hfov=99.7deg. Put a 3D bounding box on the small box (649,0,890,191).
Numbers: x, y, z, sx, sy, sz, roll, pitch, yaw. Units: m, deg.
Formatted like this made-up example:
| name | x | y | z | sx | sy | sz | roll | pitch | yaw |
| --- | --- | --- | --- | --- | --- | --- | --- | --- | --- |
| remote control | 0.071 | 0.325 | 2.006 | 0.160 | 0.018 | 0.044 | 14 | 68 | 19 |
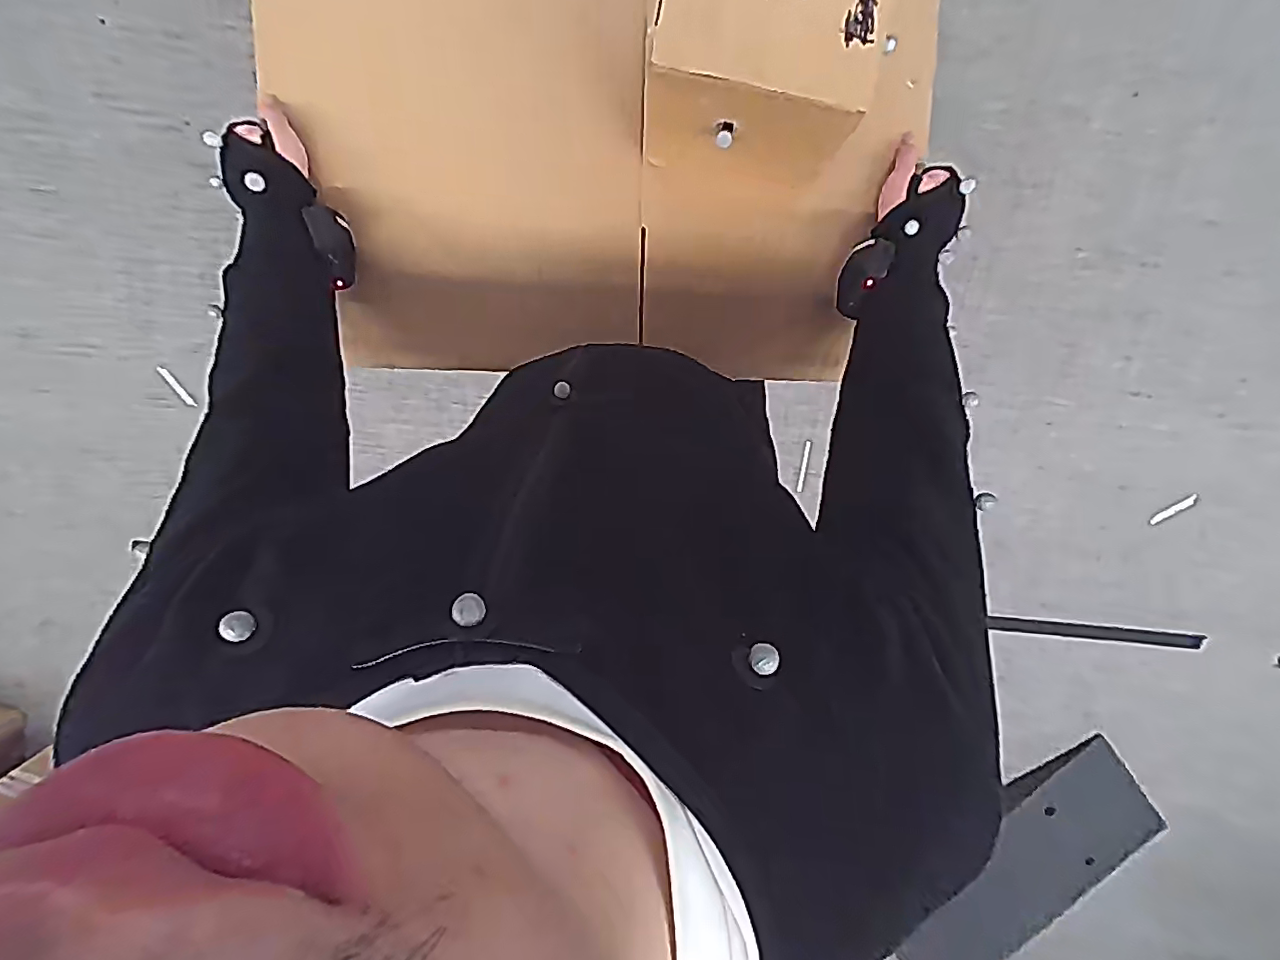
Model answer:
| name | x | y | z | sx | sy | sz | roll | pitch | yaw |
| --- | --- | --- | --- | --- | --- | --- | --- | --- | --- |
| small box | 0.111 | -0.392 | 0.495 | 0.179 | 0.176 | 0.168 | 12 | 97 | 0 |
